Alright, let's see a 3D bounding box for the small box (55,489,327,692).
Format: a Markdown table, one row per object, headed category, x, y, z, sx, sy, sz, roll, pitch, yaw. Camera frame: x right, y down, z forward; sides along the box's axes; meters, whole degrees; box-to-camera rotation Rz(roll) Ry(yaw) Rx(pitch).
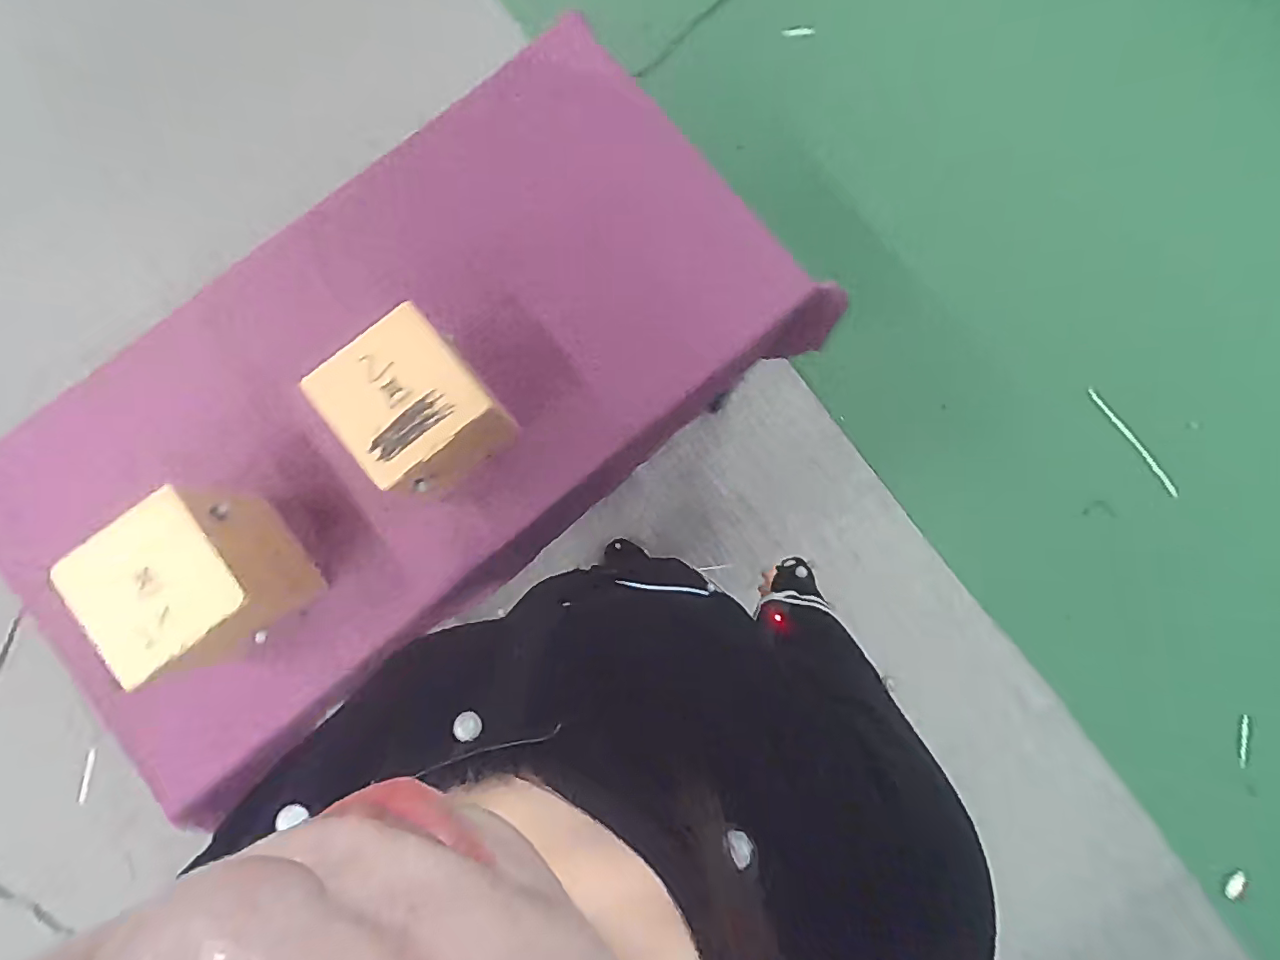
| category | x | y | z | sx | sy | sz | roll | pitch | yaw |
| --- | --- | --- | --- | --- | --- | --- | --- | --- | --- |
| small box | -0.560 | 0.135 | 0.700 | 0.168 | 0.176 | 0.179 | -39 | 85 | -4 |
